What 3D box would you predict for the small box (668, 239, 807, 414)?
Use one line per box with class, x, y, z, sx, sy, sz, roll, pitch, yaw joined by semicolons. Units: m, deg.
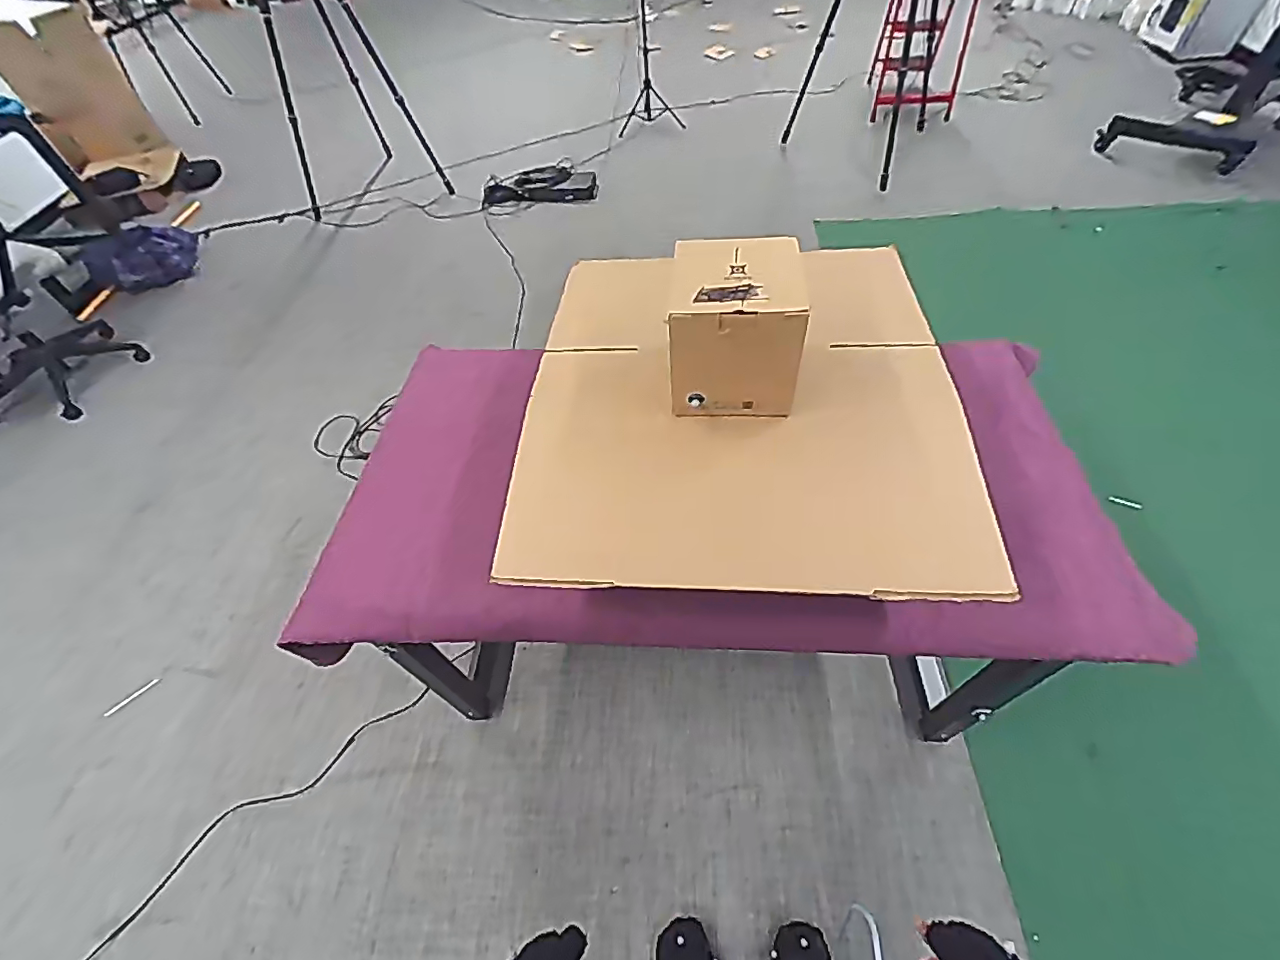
small box;0.129;-0.206;0.746;0.168;0.176;0.179;1;51;7
